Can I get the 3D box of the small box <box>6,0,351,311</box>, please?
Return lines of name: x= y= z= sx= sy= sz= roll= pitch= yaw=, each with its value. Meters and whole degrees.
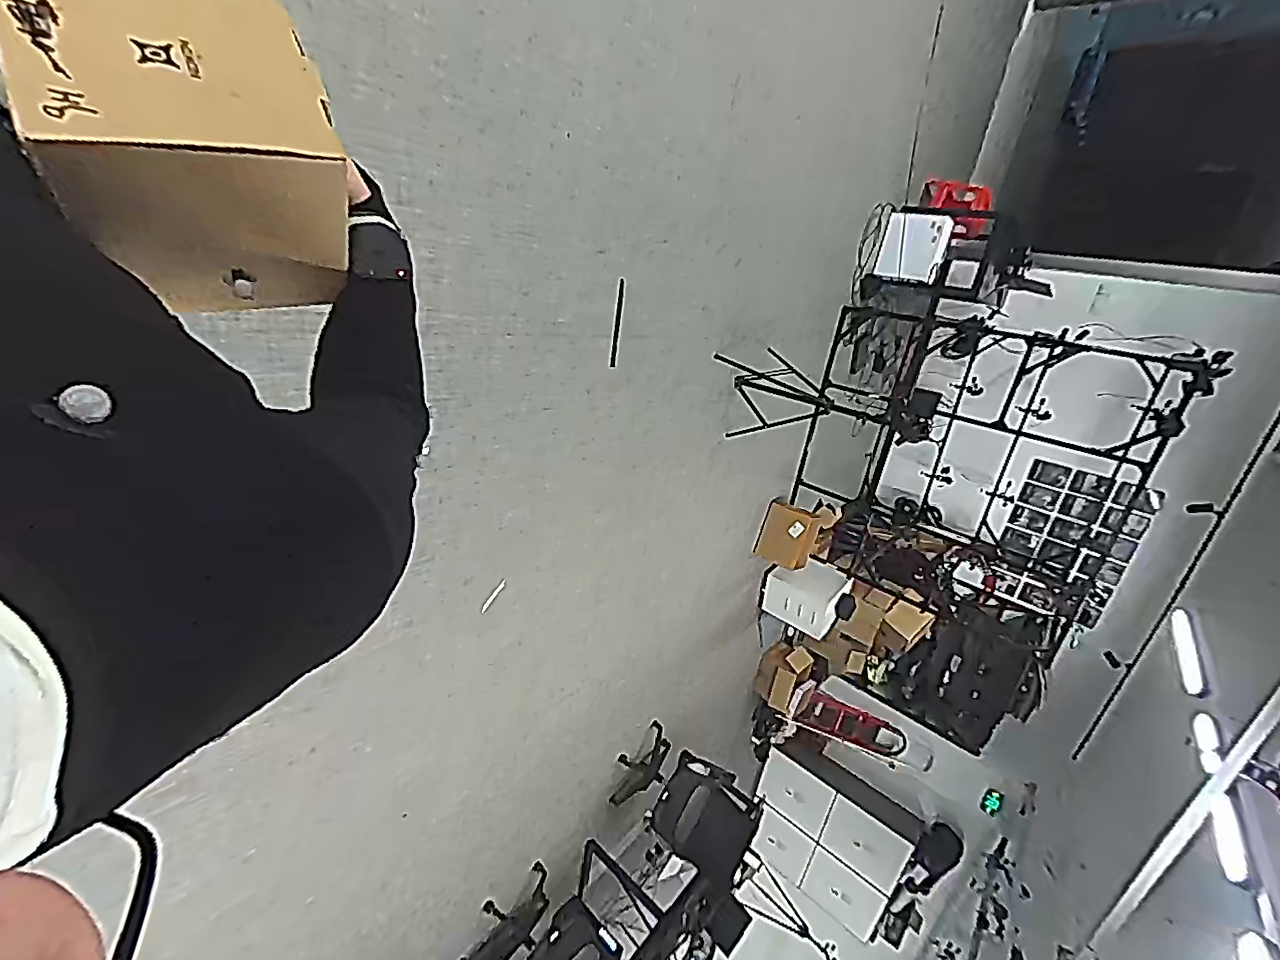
small box: x=-0.366 y=-0.265 z=0.459 sx=0.179 sy=0.168 sz=0.176 roll=-18 pitch=166 yaw=-34
